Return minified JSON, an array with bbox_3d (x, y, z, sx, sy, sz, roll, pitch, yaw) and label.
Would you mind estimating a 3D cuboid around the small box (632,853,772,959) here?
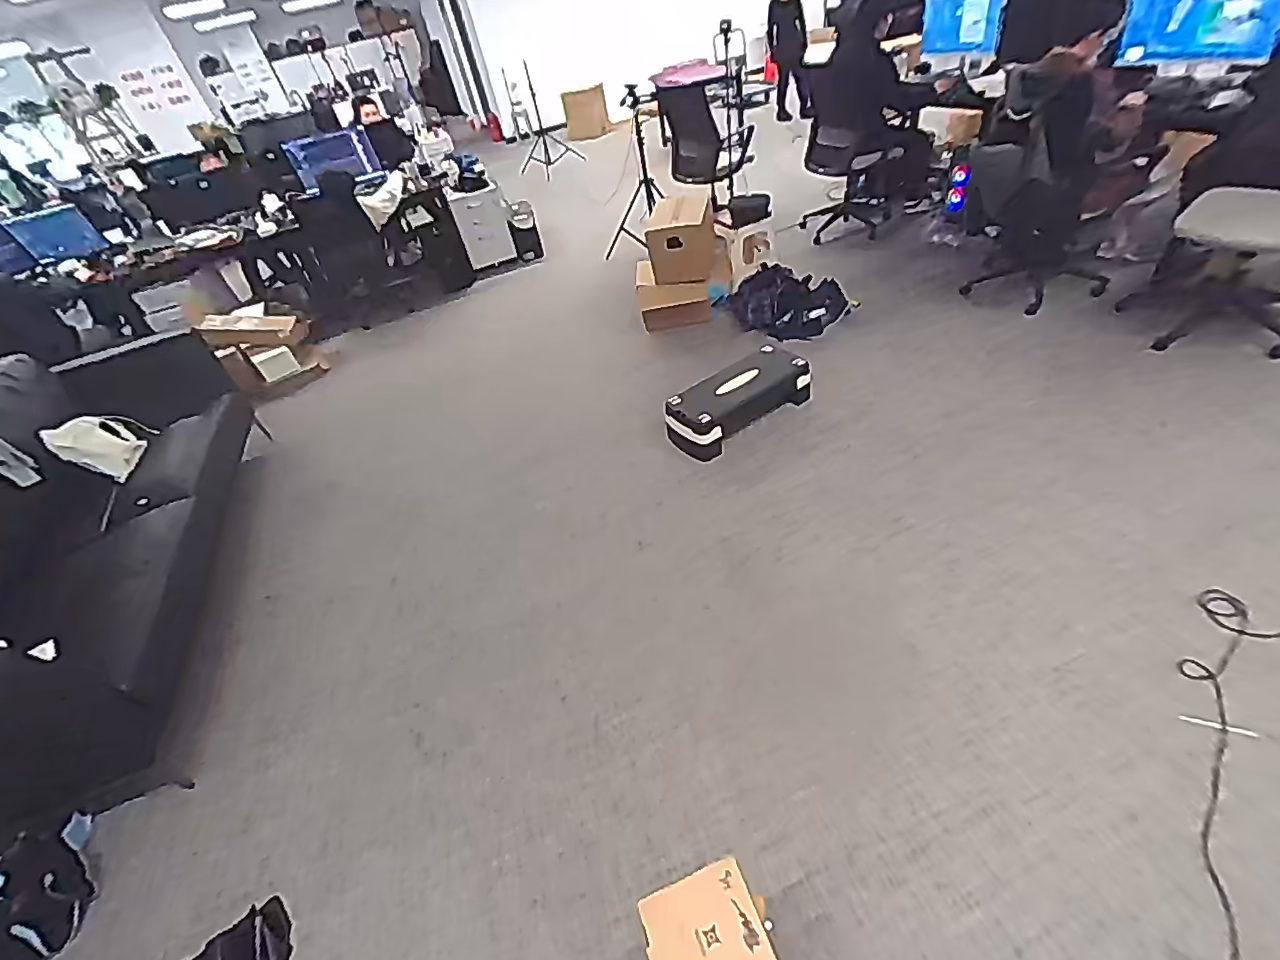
[{"bbox_3d":[0.107,0.749,0.874,0.179,0.176,0.168,-22,43,-6],"label":"small box"}]
